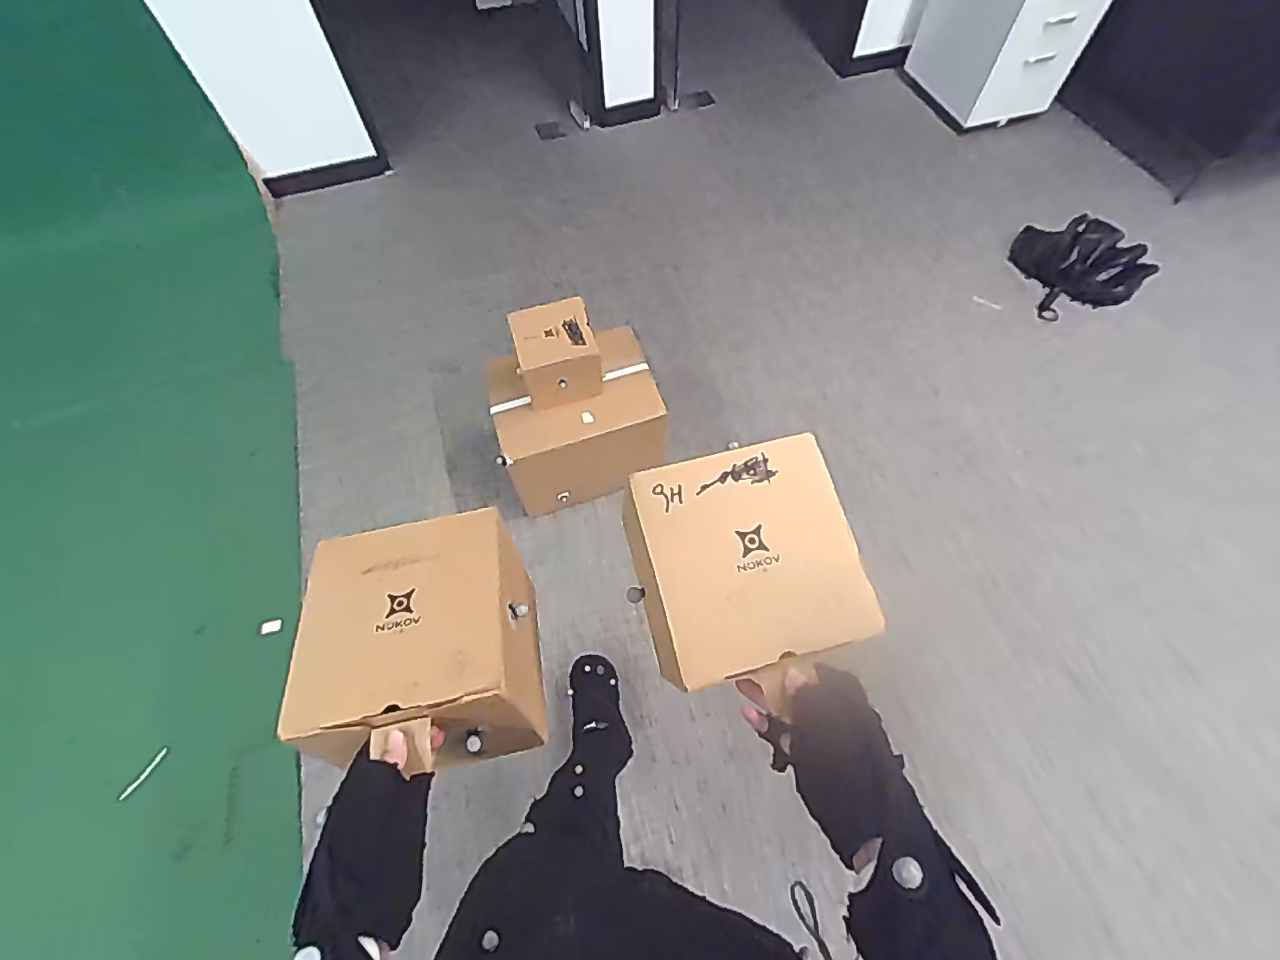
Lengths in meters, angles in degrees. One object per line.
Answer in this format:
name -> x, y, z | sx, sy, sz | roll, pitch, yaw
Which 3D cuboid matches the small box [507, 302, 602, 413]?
small box -> -0.196, -0.283, 1.275 | 0.179, 0.176, 0.168 | -18, 69, -9
